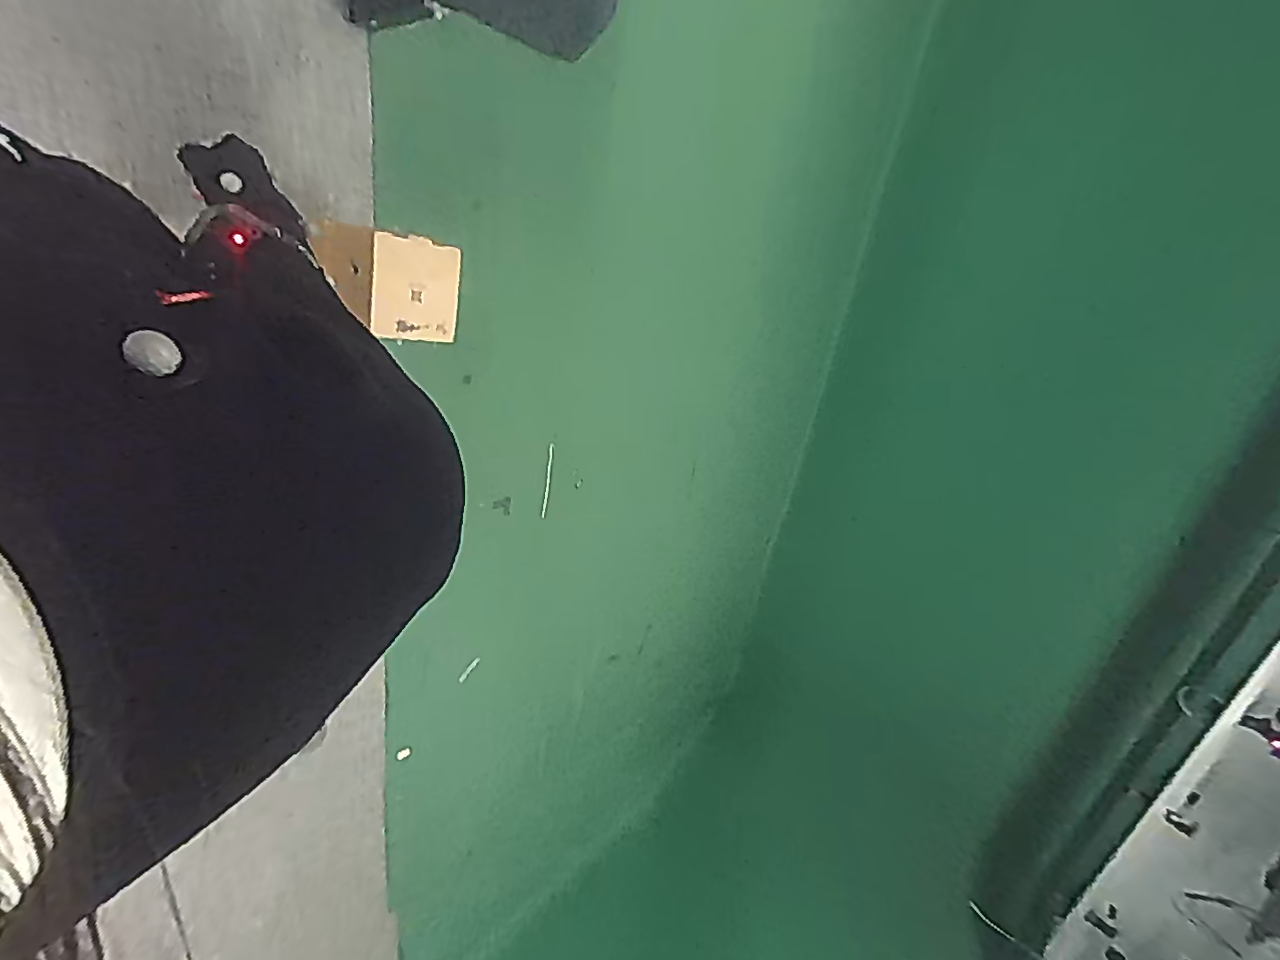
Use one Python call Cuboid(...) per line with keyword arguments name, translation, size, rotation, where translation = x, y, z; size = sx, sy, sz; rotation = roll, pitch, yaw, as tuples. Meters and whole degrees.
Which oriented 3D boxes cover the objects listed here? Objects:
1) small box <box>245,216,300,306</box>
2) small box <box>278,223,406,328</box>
Cuboid(name="small box", translation=(-0.732, -0.471, 1.182), size=(0.179, 0.176, 0.168), rotation=(-12, 119, -49))
Cuboid(name="small box", translation=(-0.604, -0.414, 1.095), size=(0.179, 0.176, 0.168), rotation=(-12, 119, -50))
